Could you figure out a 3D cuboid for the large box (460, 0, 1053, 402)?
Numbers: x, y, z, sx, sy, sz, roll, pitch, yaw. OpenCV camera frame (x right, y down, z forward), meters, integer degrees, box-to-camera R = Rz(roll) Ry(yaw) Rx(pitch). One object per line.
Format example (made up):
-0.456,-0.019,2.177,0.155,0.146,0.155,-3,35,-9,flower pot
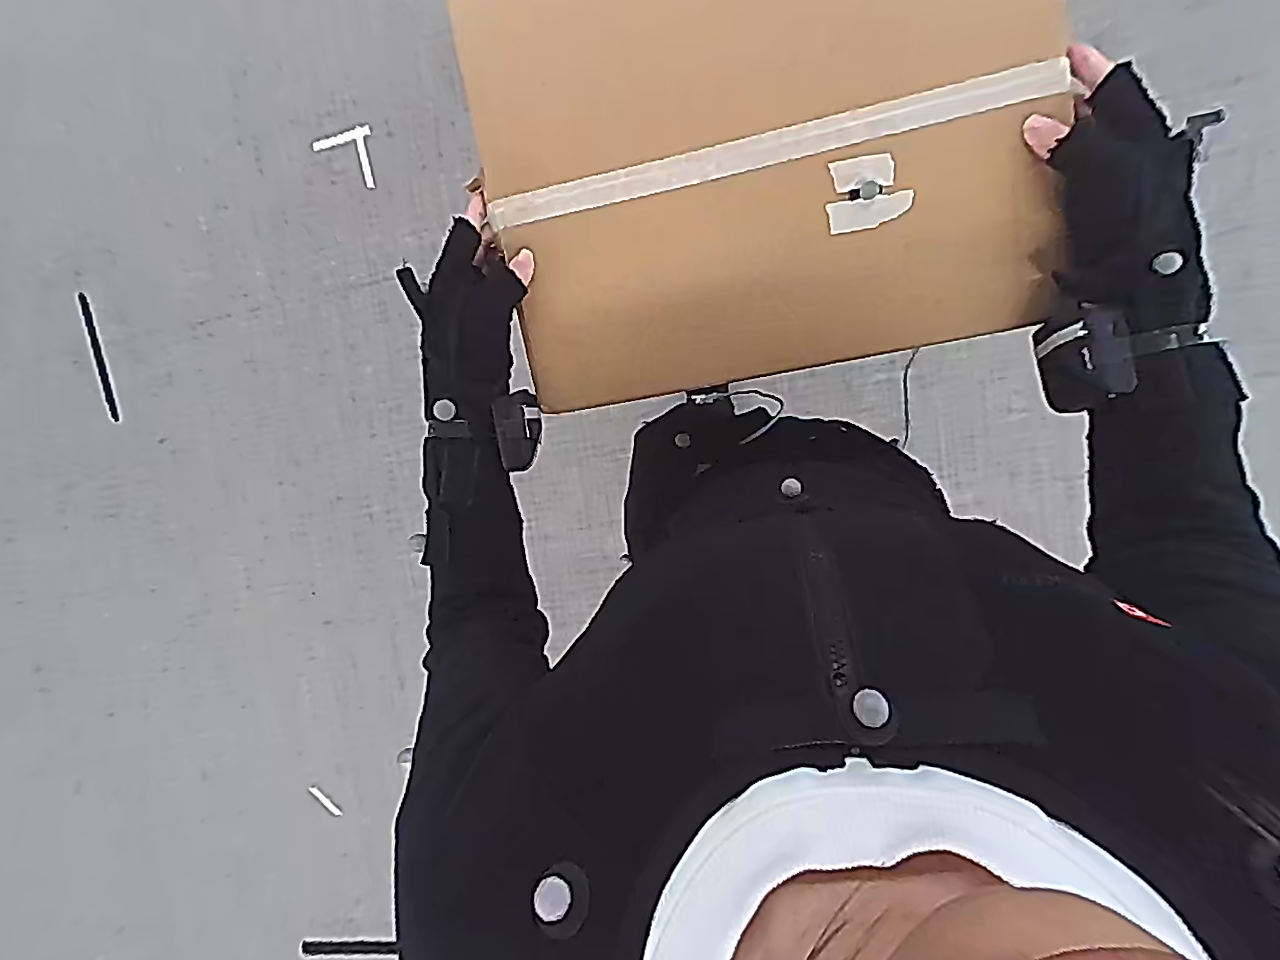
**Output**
0.099,-0.276,0.547,0.408,0.320,0.320,-10,102,8,large box
